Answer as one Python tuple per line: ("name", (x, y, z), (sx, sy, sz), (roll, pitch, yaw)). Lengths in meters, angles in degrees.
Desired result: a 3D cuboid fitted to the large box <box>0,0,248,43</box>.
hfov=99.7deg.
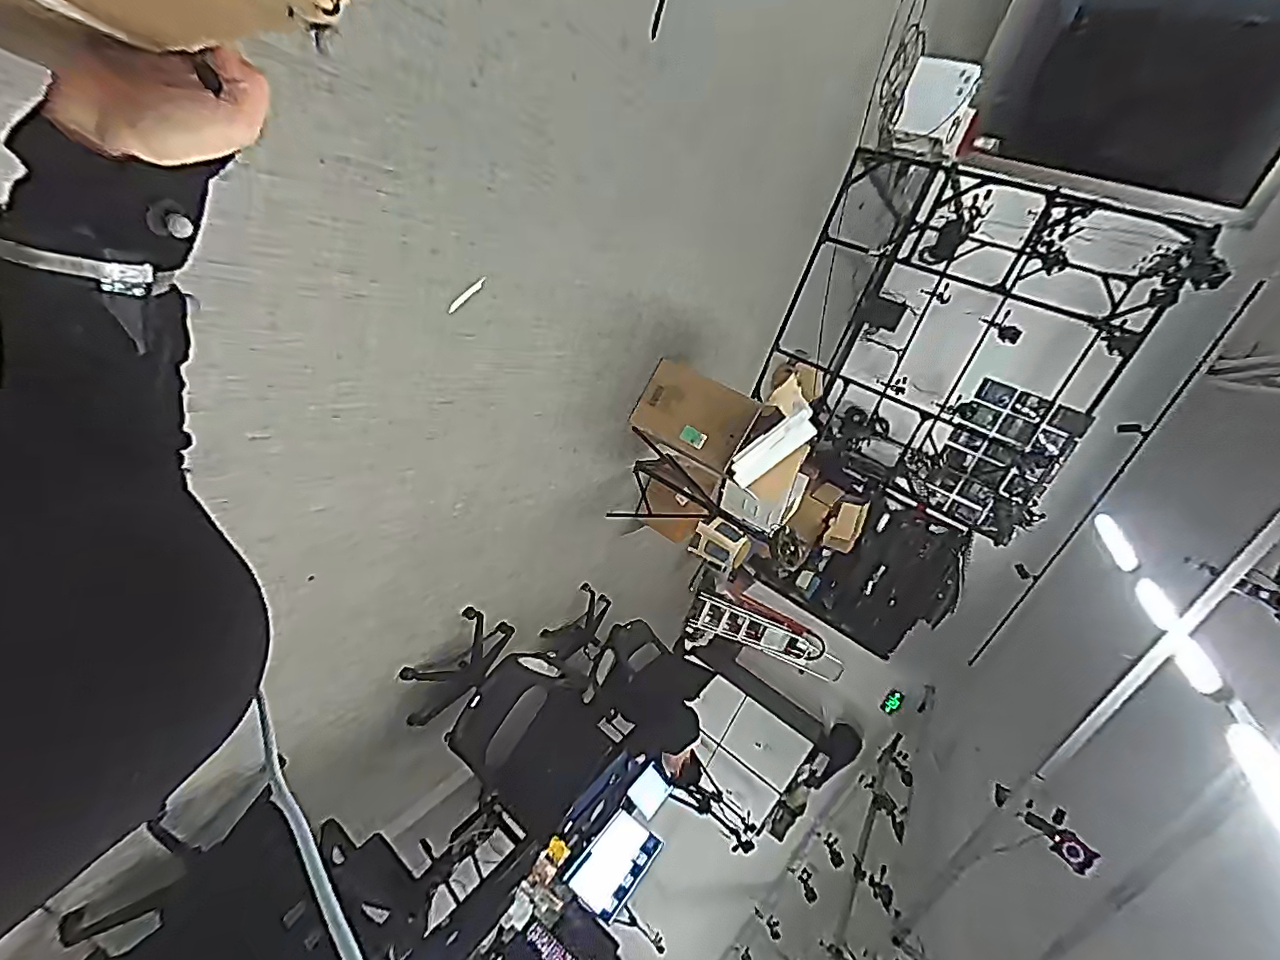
("large box", (-0.317, -0.373, 0.080), (0.408, 0.320, 0.320), (-7, 113, -61))
